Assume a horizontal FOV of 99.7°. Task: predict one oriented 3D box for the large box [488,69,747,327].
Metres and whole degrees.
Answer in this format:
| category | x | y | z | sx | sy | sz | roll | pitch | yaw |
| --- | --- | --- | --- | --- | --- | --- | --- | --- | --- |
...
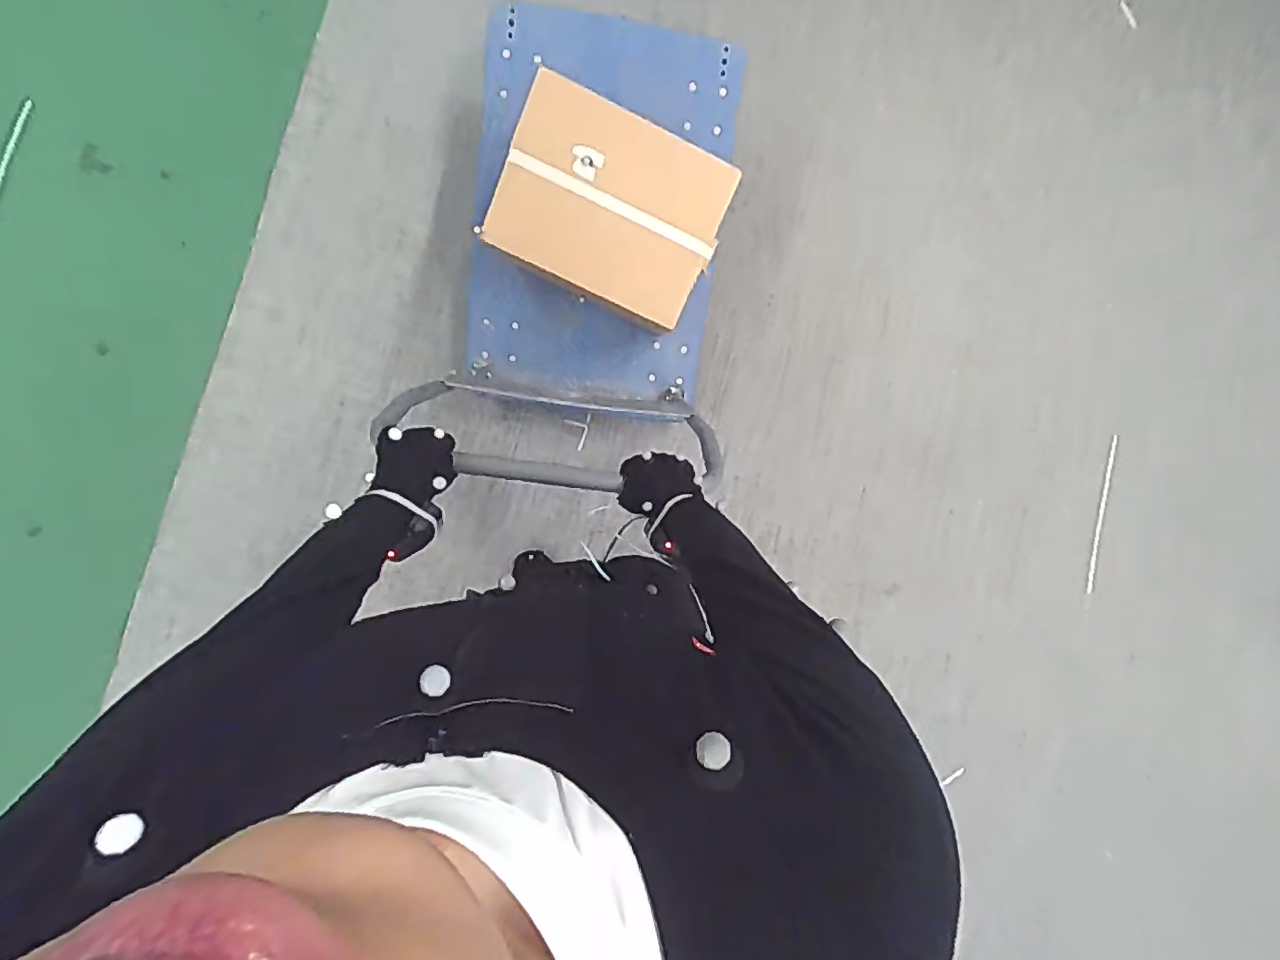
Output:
| category | x | y | z | sx | sy | sz | roll | pitch | yaw |
| --- | --- | --- | --- | --- | --- | --- | --- | --- | --- |
| large box | -0.043 | -0.546 | 1.141 | 0.408 | 0.320 | 0.320 | 24 | 102 | -6 |
